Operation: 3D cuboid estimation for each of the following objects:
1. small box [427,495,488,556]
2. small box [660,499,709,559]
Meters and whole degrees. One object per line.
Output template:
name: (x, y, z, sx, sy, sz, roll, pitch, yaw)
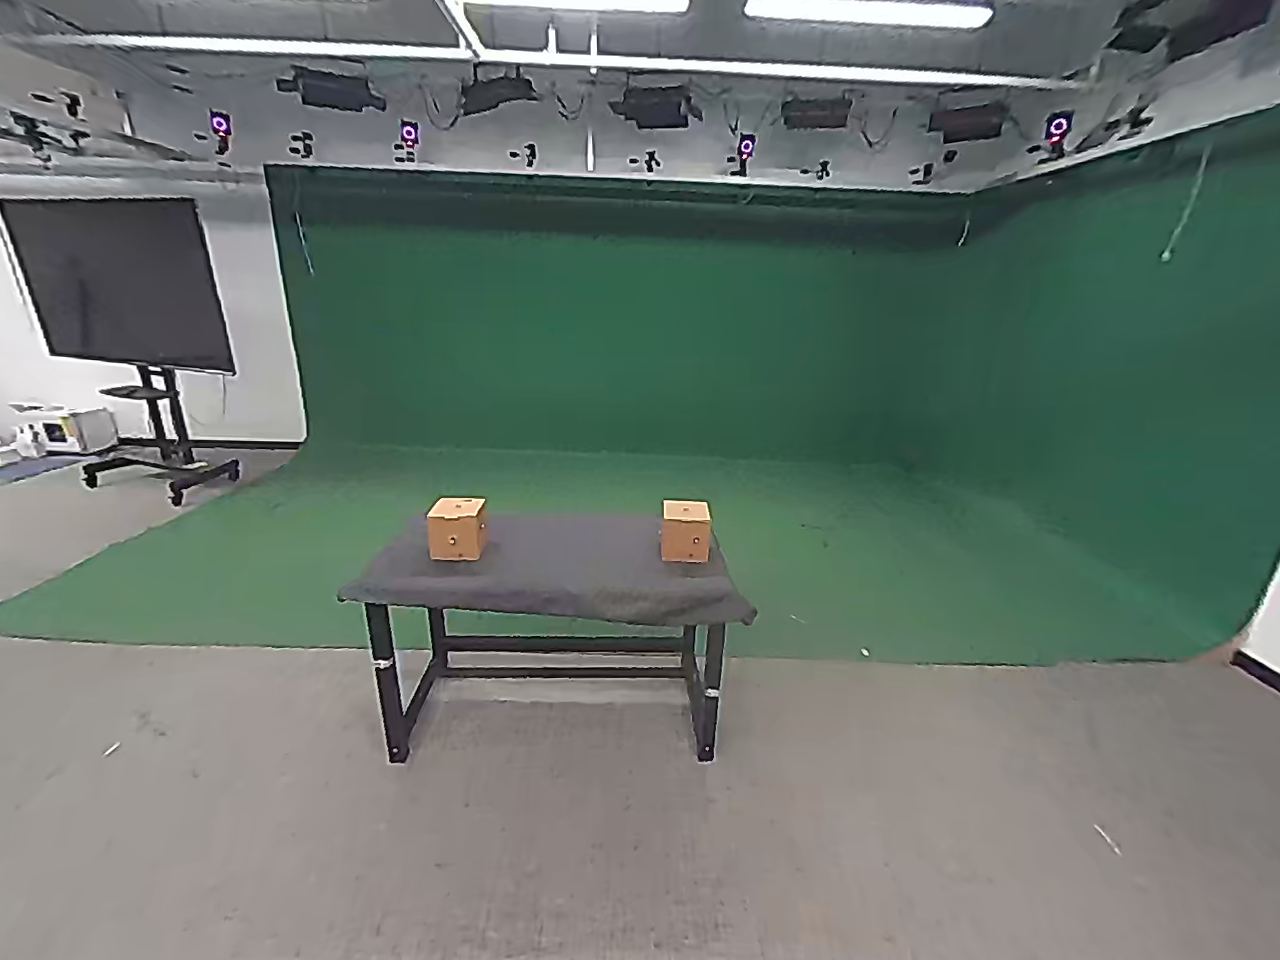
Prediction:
small box: (-0.646, 0.163, 1.936, 0.168, 0.176, 0.179, 2, 20, -4)
small box: (0.160, 0.180, 1.986, 0.168, 0.176, 0.179, 3, 19, 0)
